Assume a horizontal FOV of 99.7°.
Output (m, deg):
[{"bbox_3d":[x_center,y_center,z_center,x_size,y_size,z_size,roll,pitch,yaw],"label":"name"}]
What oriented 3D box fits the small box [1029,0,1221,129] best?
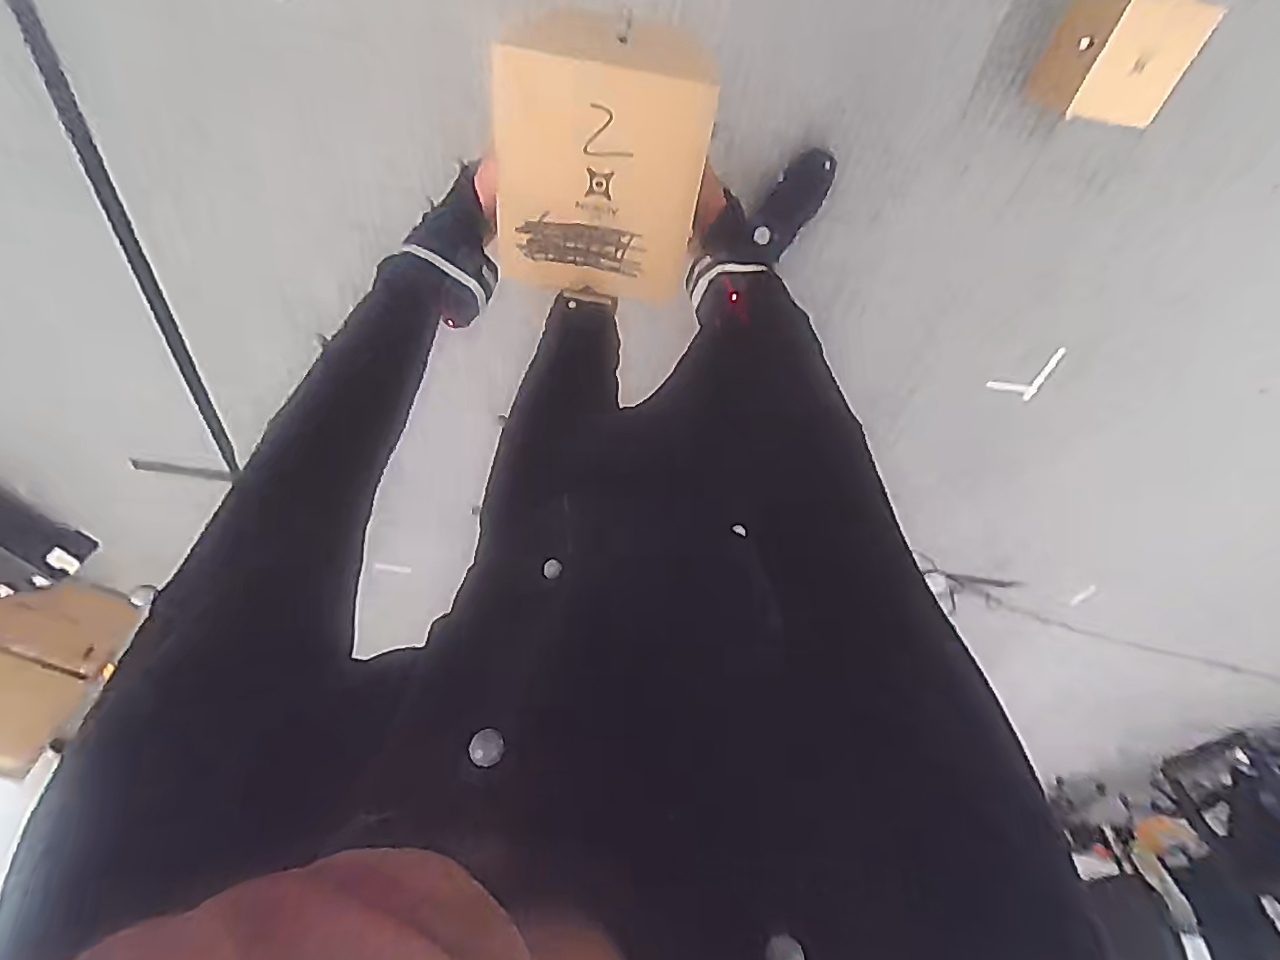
[{"bbox_3d":[0.867,-0.778,0.997,0.168,0.176,0.179,7,132,-5],"label":"small box"}]
